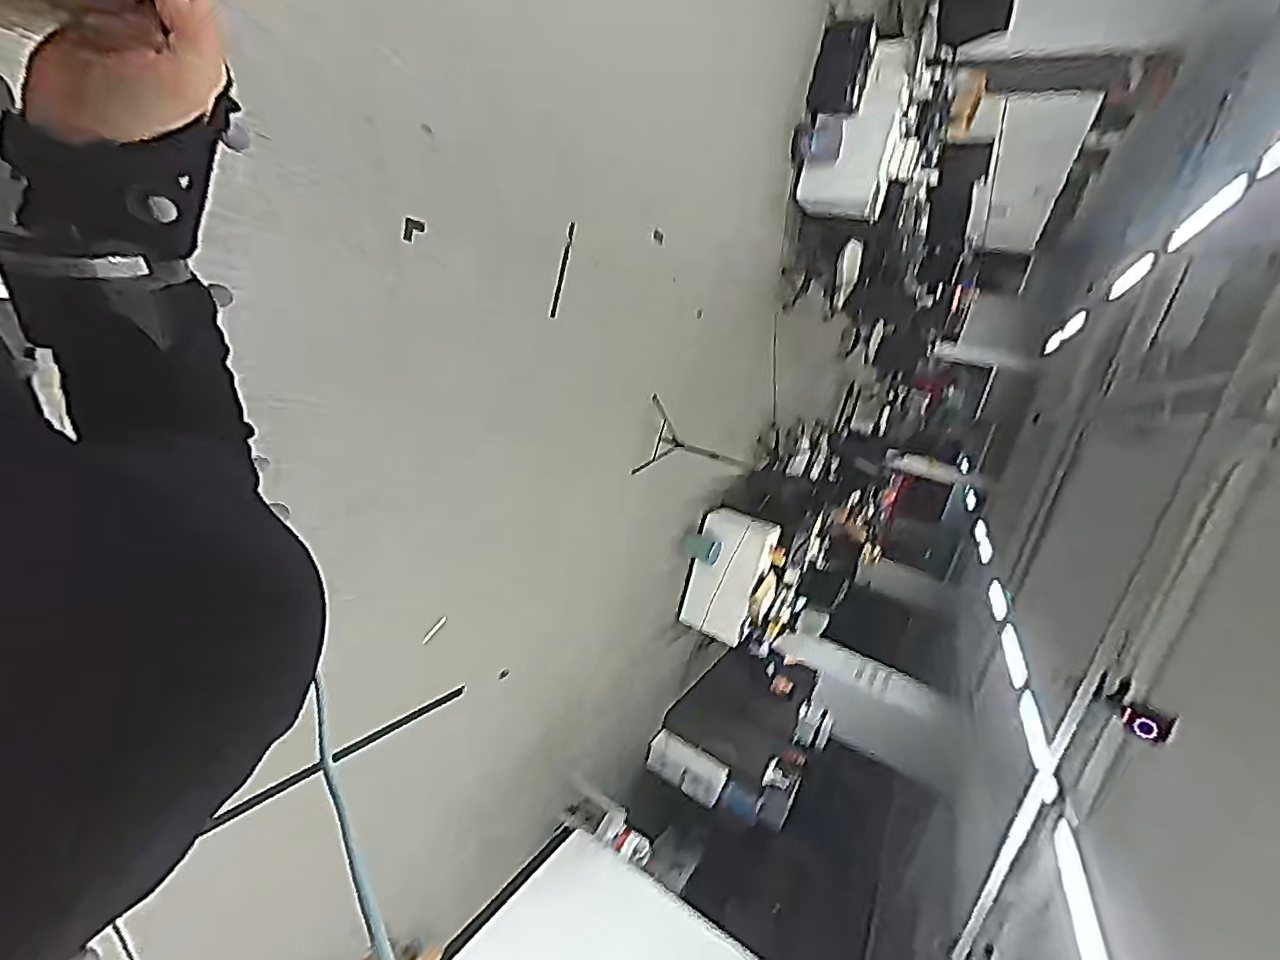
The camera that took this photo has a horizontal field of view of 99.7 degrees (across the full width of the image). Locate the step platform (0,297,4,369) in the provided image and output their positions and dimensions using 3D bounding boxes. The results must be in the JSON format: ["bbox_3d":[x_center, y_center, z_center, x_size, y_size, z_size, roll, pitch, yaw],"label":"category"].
[{"bbox_3d":[-1.332,-0.247,0.684,0.684,0.204,0.286,3,105,-61],"label":"step platform"}]
